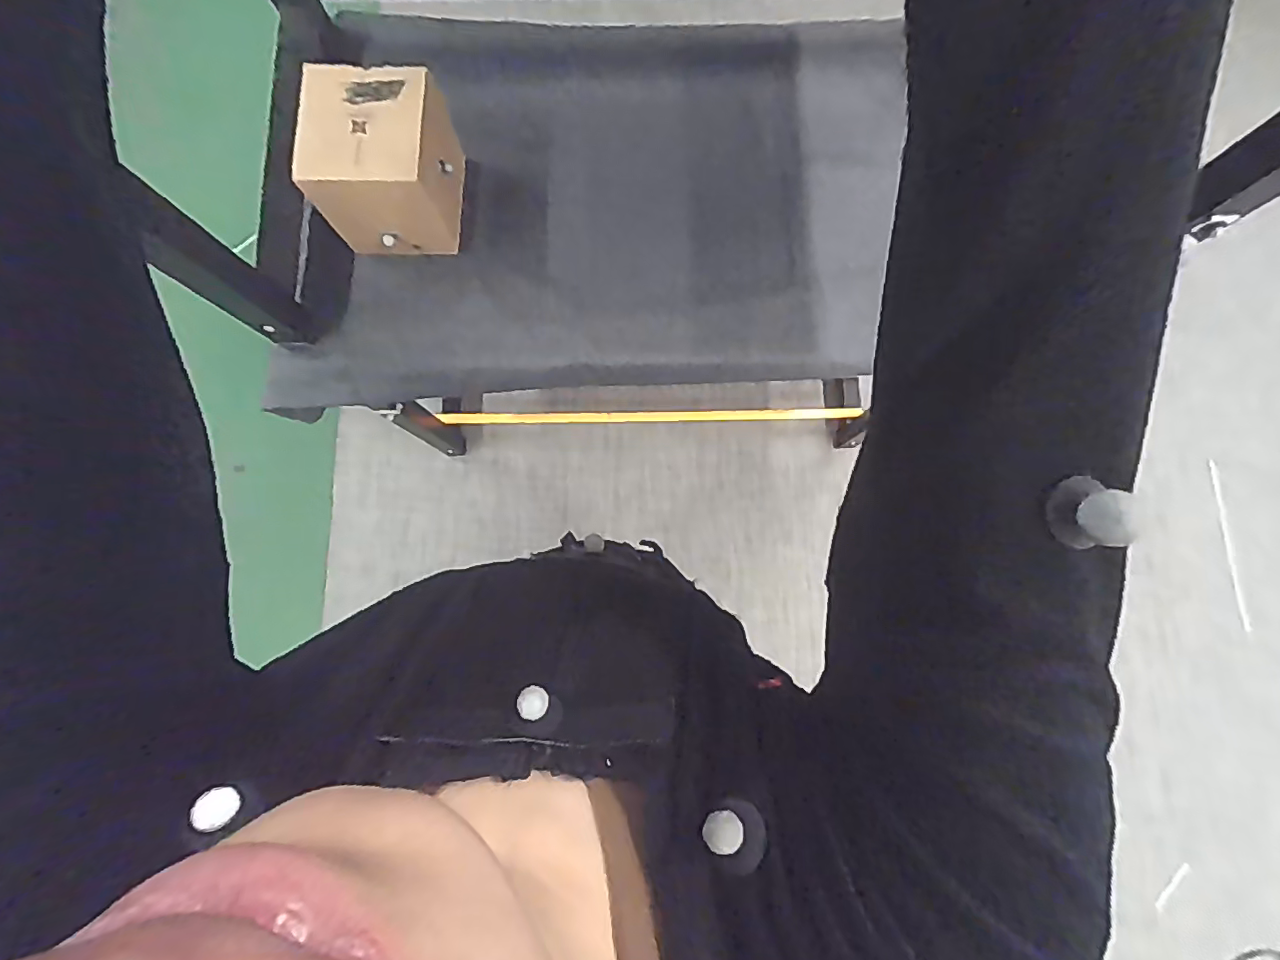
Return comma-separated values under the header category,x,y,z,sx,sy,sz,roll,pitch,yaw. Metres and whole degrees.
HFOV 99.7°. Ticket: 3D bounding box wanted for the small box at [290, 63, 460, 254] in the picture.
category,x,y,z,sx,sy,sz,roll,pitch,yaw
small box,-0.371,-0.460,0.791,0.168,0.176,0.179,0,81,-1
